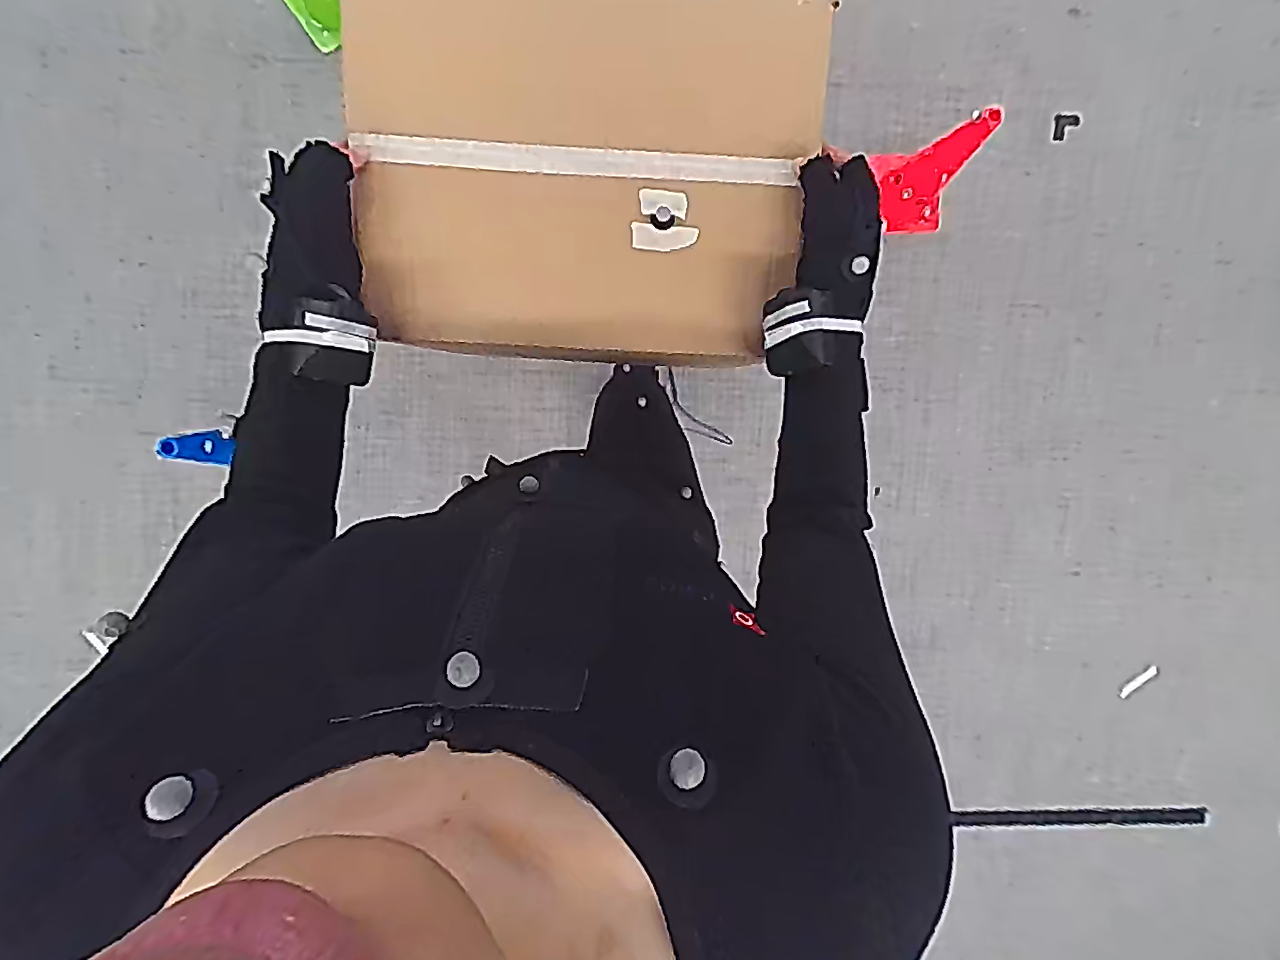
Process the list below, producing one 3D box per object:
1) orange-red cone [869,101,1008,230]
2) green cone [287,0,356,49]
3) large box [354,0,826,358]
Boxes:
[{"bbox_3d":[0.709,-0.755,1.257,0.198,0.360,0.199,-1,93,-3],"label":"orange-red cone"},{"bbox_3d":[-0.762,-1.191,1.168,0.202,0.368,0.200,-36,94,2],"label":"green cone"},{"bbox_3d":[-0.051,-0.311,0.620,0.408,0.320,0.320,2,100,-3],"label":"large box"}]
